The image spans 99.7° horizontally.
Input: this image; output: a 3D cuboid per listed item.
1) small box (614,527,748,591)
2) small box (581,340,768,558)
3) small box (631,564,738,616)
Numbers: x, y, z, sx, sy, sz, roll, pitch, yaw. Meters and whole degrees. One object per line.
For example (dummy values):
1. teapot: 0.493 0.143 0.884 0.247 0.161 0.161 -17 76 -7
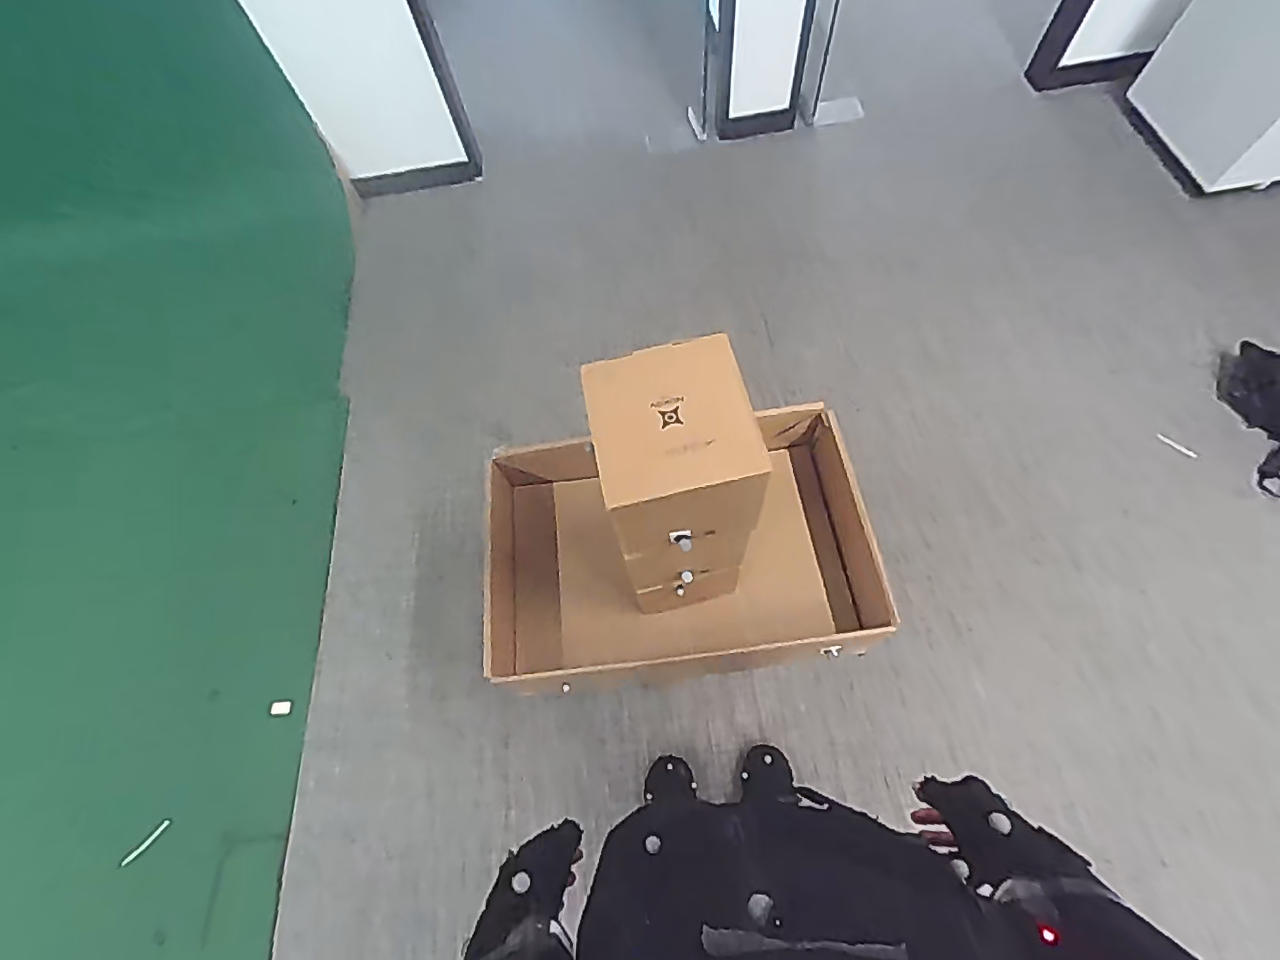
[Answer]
1. small box: 0.045 0.041 0.774 0.168 0.176 0.179 -13 65 0
2. small box: 0.037 -0.028 0.628 0.168 0.176 0.179 -14 65 1
3. small box: 0.060 0.114 0.920 0.168 0.176 0.179 -14 63 0
